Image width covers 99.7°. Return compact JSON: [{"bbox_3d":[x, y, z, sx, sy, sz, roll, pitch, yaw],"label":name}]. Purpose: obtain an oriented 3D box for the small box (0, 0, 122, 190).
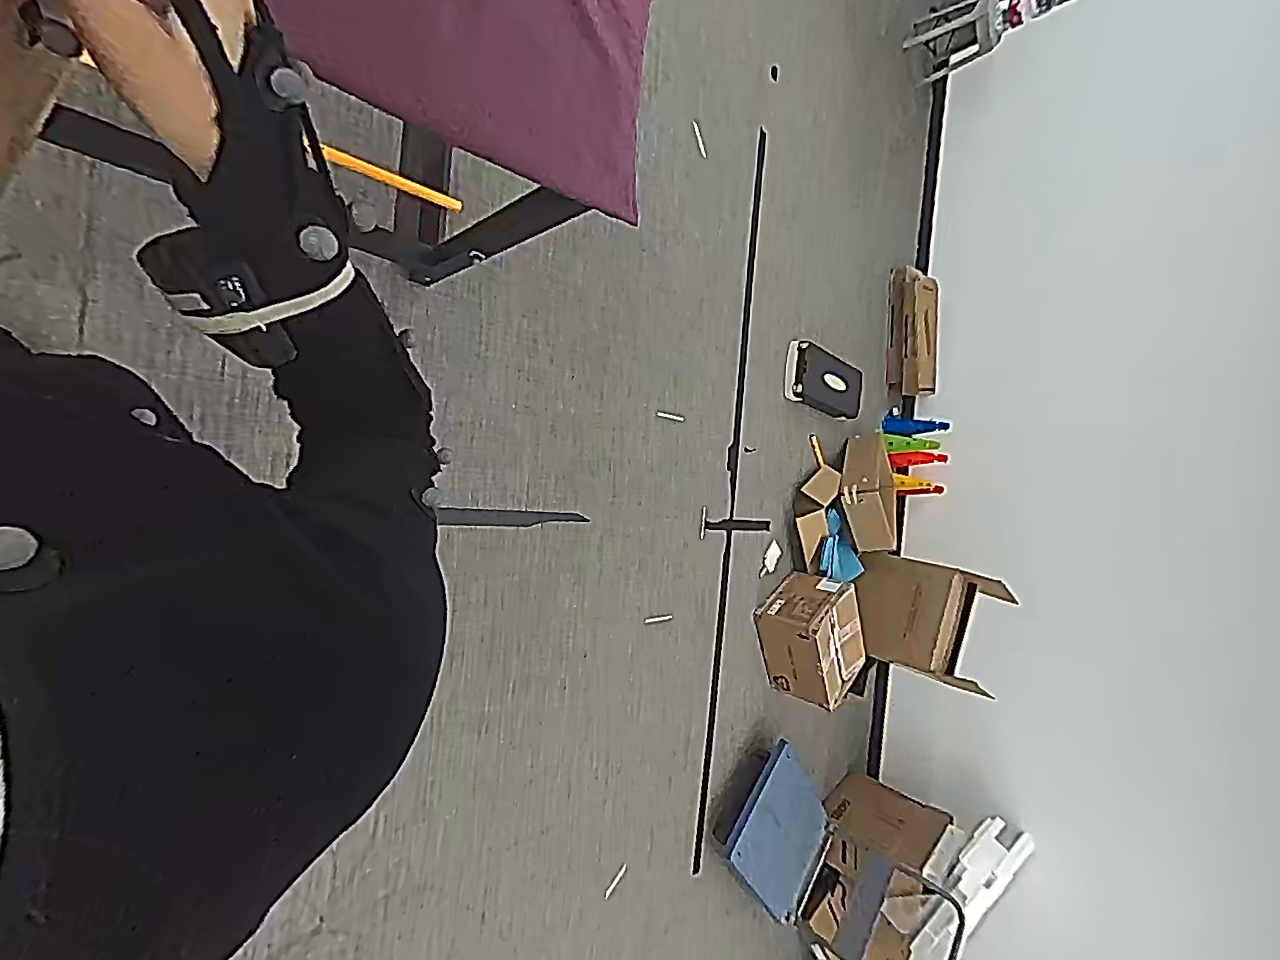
[{"bbox_3d":[-0.288,-0.209,0.156,0.179,0.176,0.168,26,74,-42],"label":"small box"}]
